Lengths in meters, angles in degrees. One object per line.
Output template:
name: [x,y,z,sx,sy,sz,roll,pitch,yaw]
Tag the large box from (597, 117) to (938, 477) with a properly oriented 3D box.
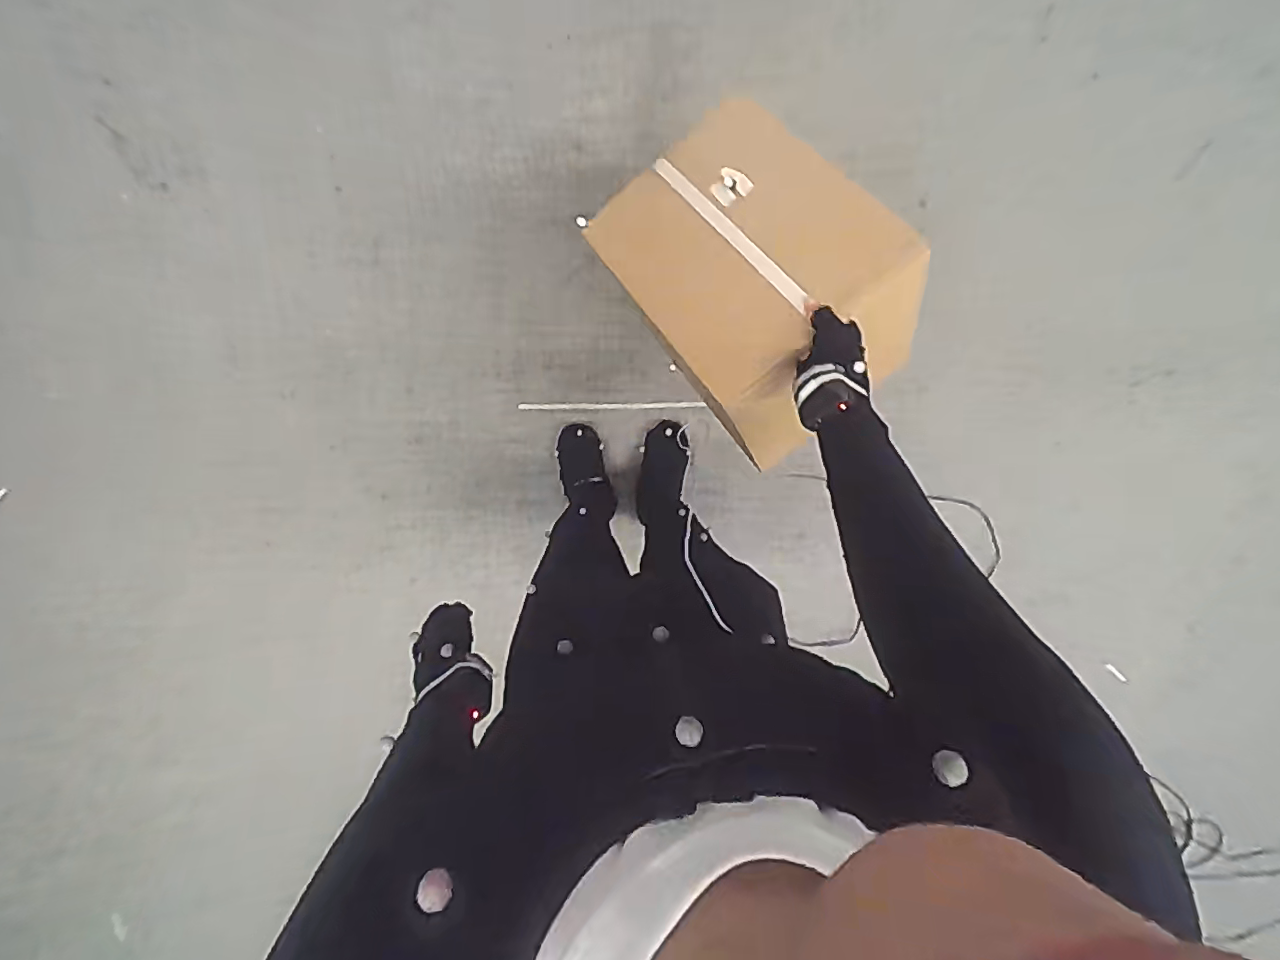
large box: [0.202,-0.277,0.891,0.320,0.320,0.408,-37,64,7]
